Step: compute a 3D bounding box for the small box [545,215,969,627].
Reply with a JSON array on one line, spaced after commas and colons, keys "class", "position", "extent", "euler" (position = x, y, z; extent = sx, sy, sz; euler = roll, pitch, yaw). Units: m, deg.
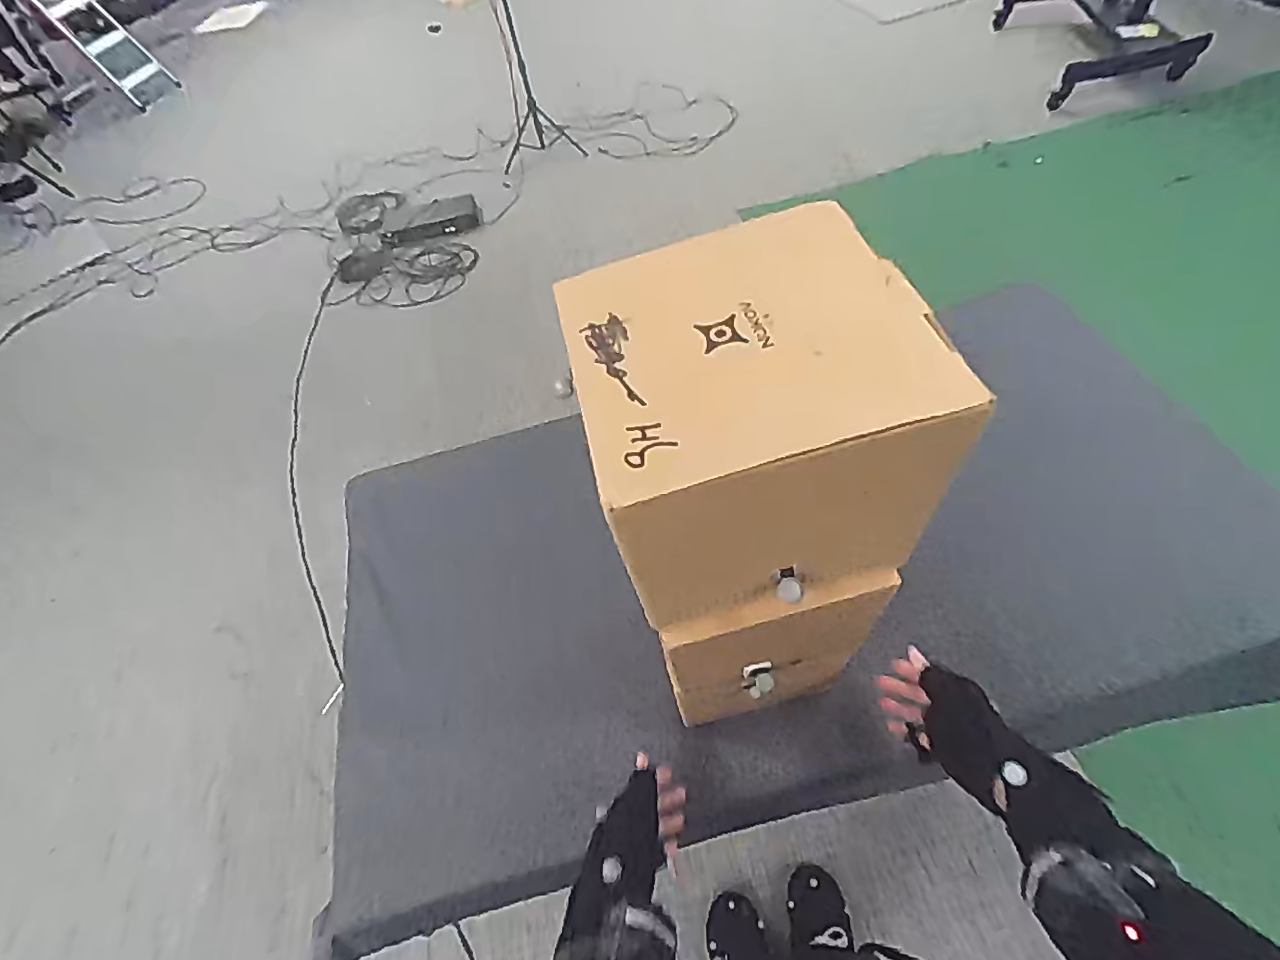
[{"class": "small box", "position": [0.054, -0.026, 0.341], "extent": [0.179, 0.176, 0.168], "euler": [-15, 55, 1]}]

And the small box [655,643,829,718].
[{"class": "small box", "position": [0.104, 0.152, 0.607], "extent": [0.179, 0.176, 0.168], "euler": [-15, 56, 0]}]

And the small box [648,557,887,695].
[{"class": "small box", "position": [0.081, 0.066, 0.473], "extent": [0.168, 0.176, 0.179], "euler": [-16, 57, 1]}]
